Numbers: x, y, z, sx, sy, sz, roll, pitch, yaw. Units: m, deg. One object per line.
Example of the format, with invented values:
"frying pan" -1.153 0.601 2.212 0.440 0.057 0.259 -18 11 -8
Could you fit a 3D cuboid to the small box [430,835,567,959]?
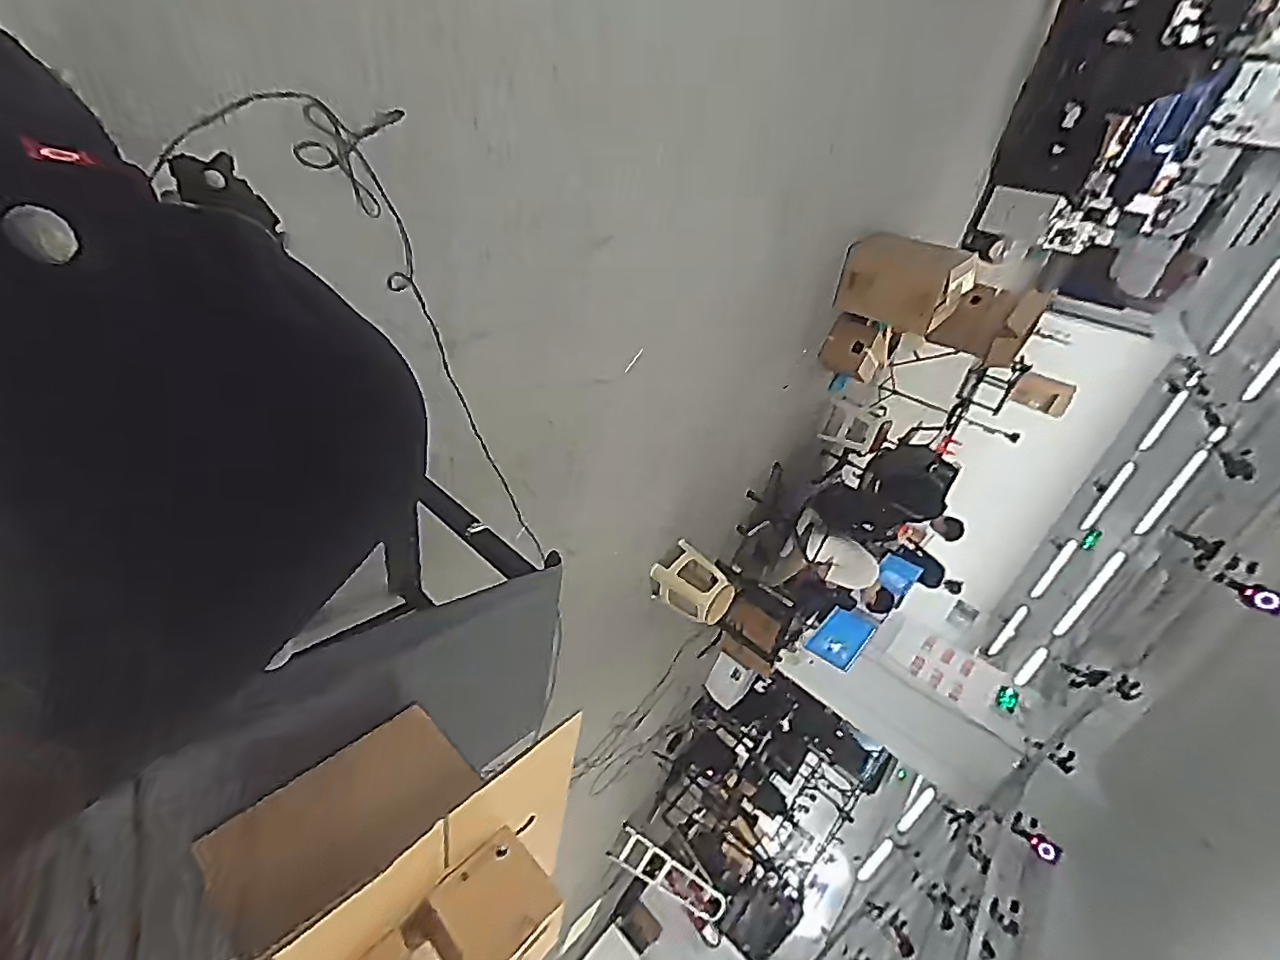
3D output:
"small box" -0.251 0.772 0.946 0.168 0.176 0.179 -23 134 -45
